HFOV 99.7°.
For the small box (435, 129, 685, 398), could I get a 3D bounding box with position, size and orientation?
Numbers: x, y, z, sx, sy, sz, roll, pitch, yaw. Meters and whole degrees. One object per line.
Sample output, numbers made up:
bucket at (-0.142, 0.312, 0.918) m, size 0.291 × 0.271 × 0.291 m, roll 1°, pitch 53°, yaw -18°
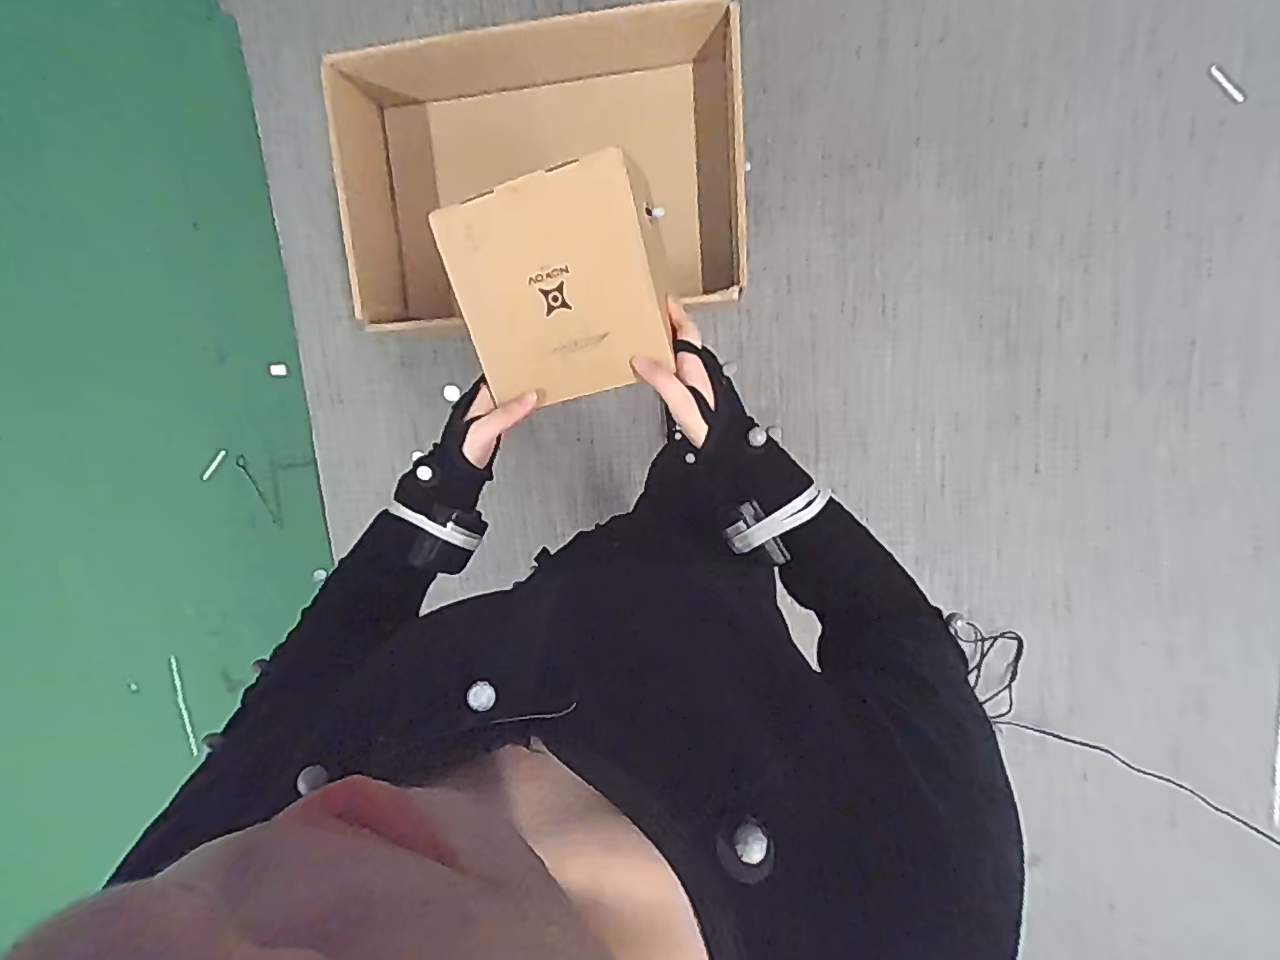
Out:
small box at (-0.057, -0.193, 0.514) m, size 0.168 × 0.176 × 0.179 m, roll -11°, pitch 108°, yaw 13°
